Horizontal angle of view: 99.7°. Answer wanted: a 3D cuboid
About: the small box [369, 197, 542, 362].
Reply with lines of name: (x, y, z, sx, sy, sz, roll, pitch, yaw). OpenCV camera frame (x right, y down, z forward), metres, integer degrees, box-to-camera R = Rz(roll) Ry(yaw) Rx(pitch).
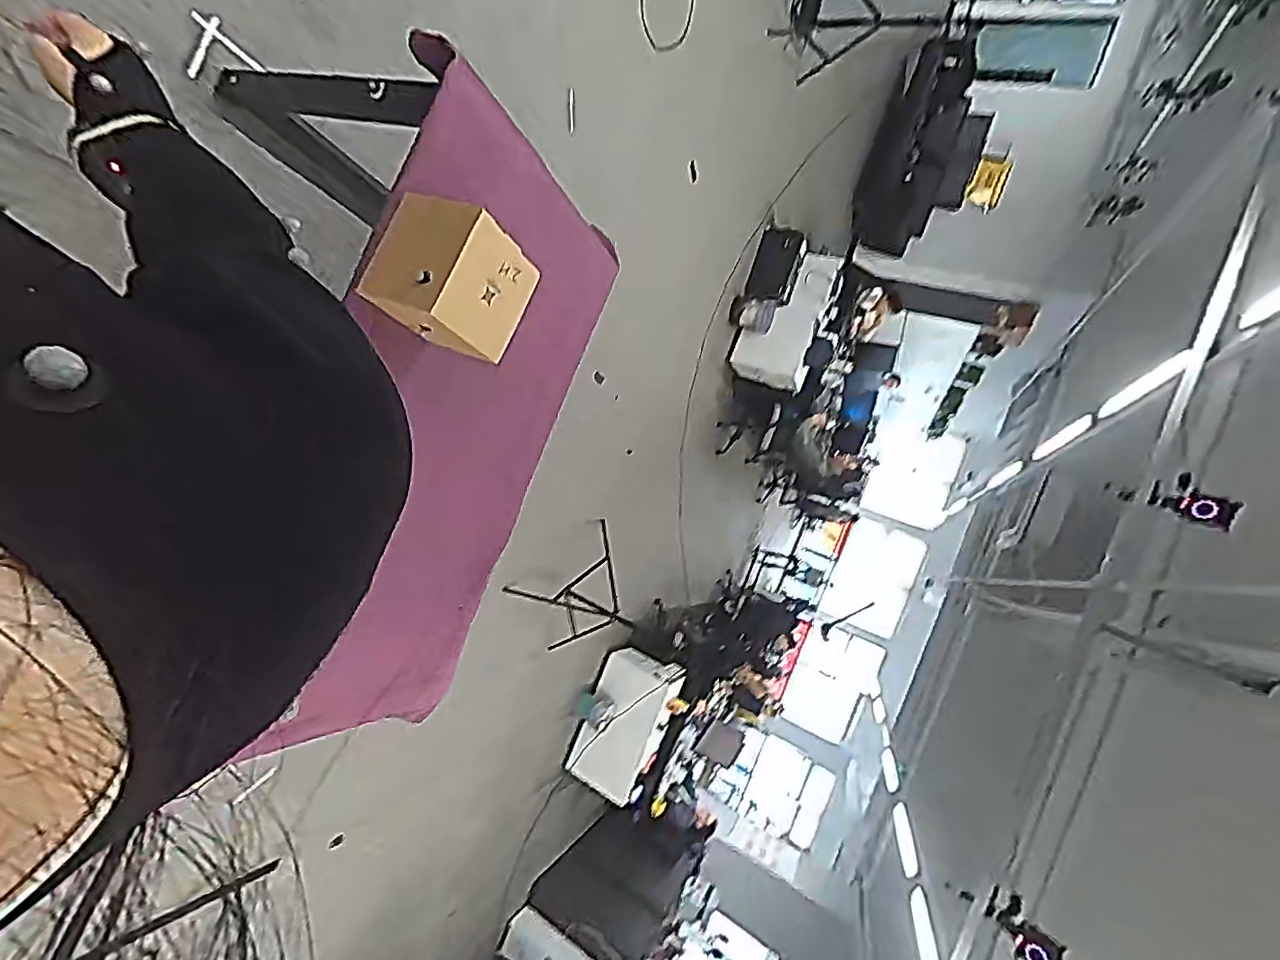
small box: (-0.295, -0.319, 0.866, 0.179, 0.176, 0.168, -67, 157, -5)
